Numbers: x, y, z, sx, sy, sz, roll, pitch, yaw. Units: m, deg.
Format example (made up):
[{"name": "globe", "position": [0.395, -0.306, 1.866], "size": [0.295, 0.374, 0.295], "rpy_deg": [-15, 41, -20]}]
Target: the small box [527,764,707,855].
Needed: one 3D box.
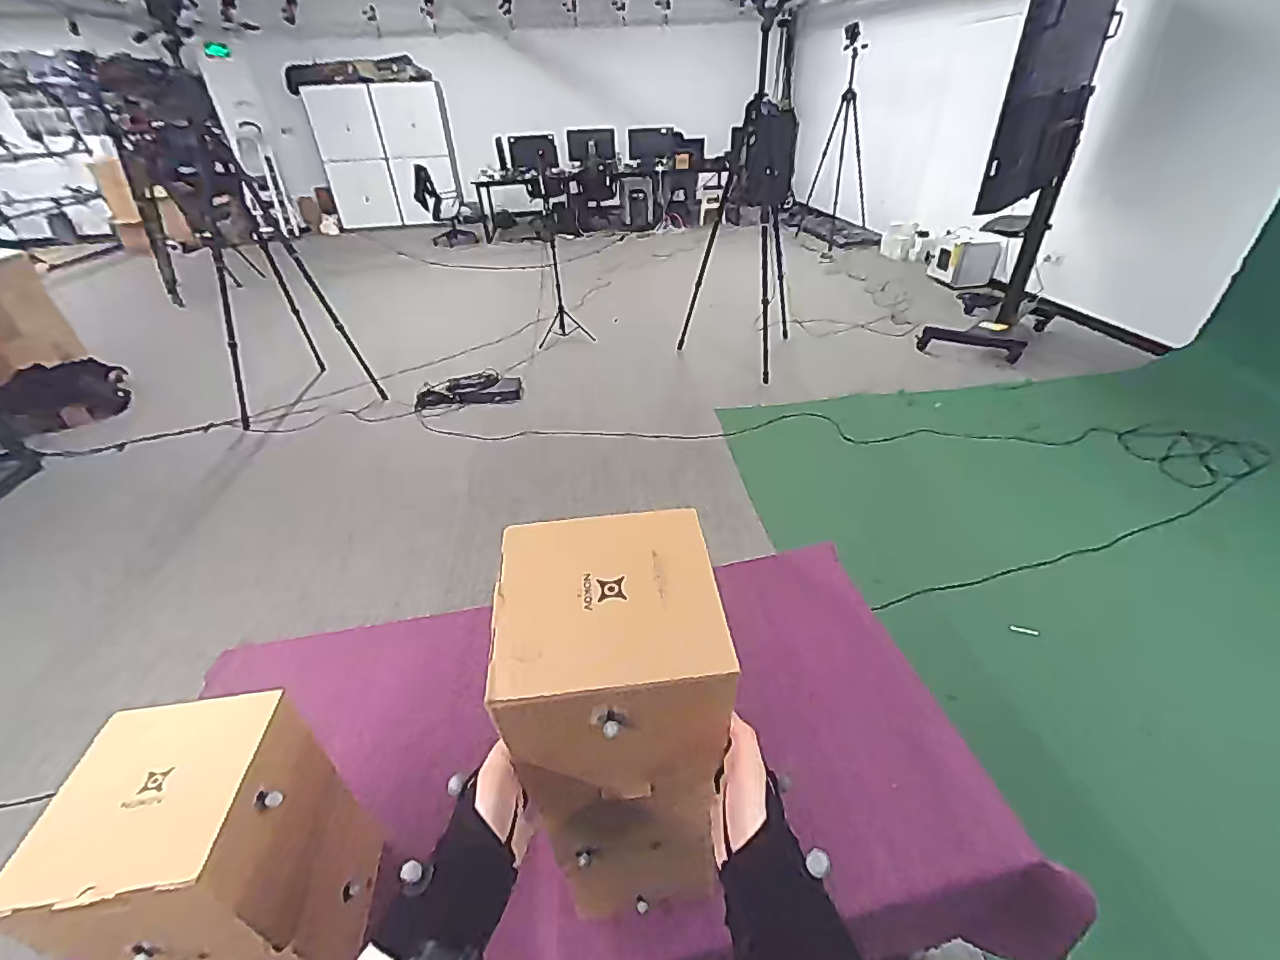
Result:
[{"name": "small box", "position": [-0.021, 0.280, 0.591], "size": [0.168, 0.176, 0.179], "rpy_deg": [-6, 34, -2]}]

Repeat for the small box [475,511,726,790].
[{"name": "small box", "position": [-0.028, 0.150, 0.475], "size": [0.179, 0.176, 0.168], "rpy_deg": [-6, 42, -3]}]

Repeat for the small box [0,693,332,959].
[{"name": "small box", "position": [-0.437, 0.346, 0.538], "size": [0.168, 0.176, 0.179], "rpy_deg": [-7, 36, -5]}]

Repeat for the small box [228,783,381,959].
[{"name": "small box", "position": [-0.425, 0.485, 0.624], "size": [0.179, 0.176, 0.168], "rpy_deg": [-7, 34, -5]}]
